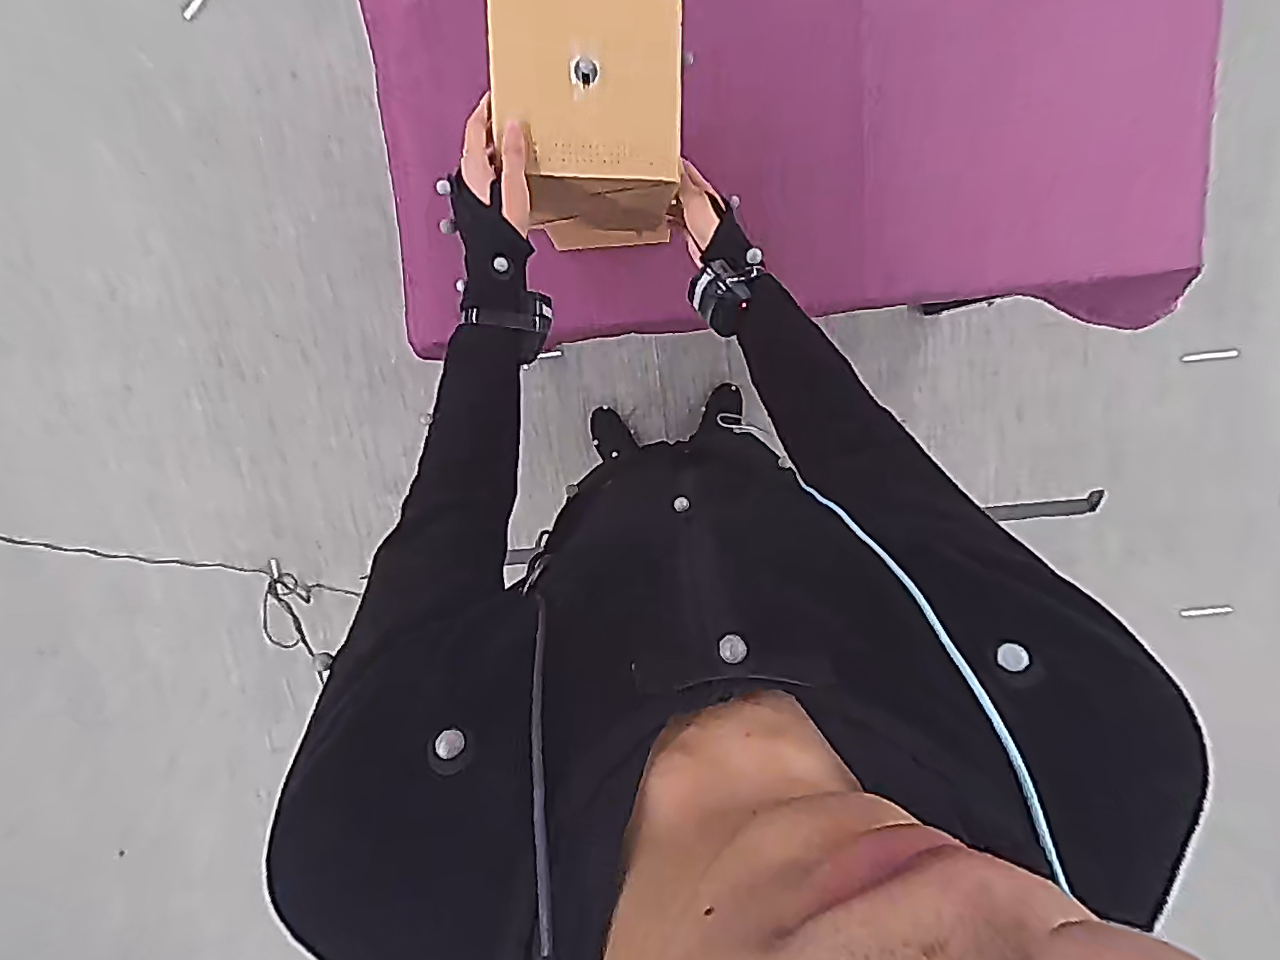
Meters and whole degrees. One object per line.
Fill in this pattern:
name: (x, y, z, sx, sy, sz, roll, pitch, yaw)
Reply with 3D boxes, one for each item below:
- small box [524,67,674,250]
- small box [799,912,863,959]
small box: (-0.050, -0.423, 0.737, 0.179, 0.176, 0.168, -4, 100, 0)
small box: (0.650, 1.624, 1.851, 0.168, 0.176, 0.179, -5, 101, 0)
